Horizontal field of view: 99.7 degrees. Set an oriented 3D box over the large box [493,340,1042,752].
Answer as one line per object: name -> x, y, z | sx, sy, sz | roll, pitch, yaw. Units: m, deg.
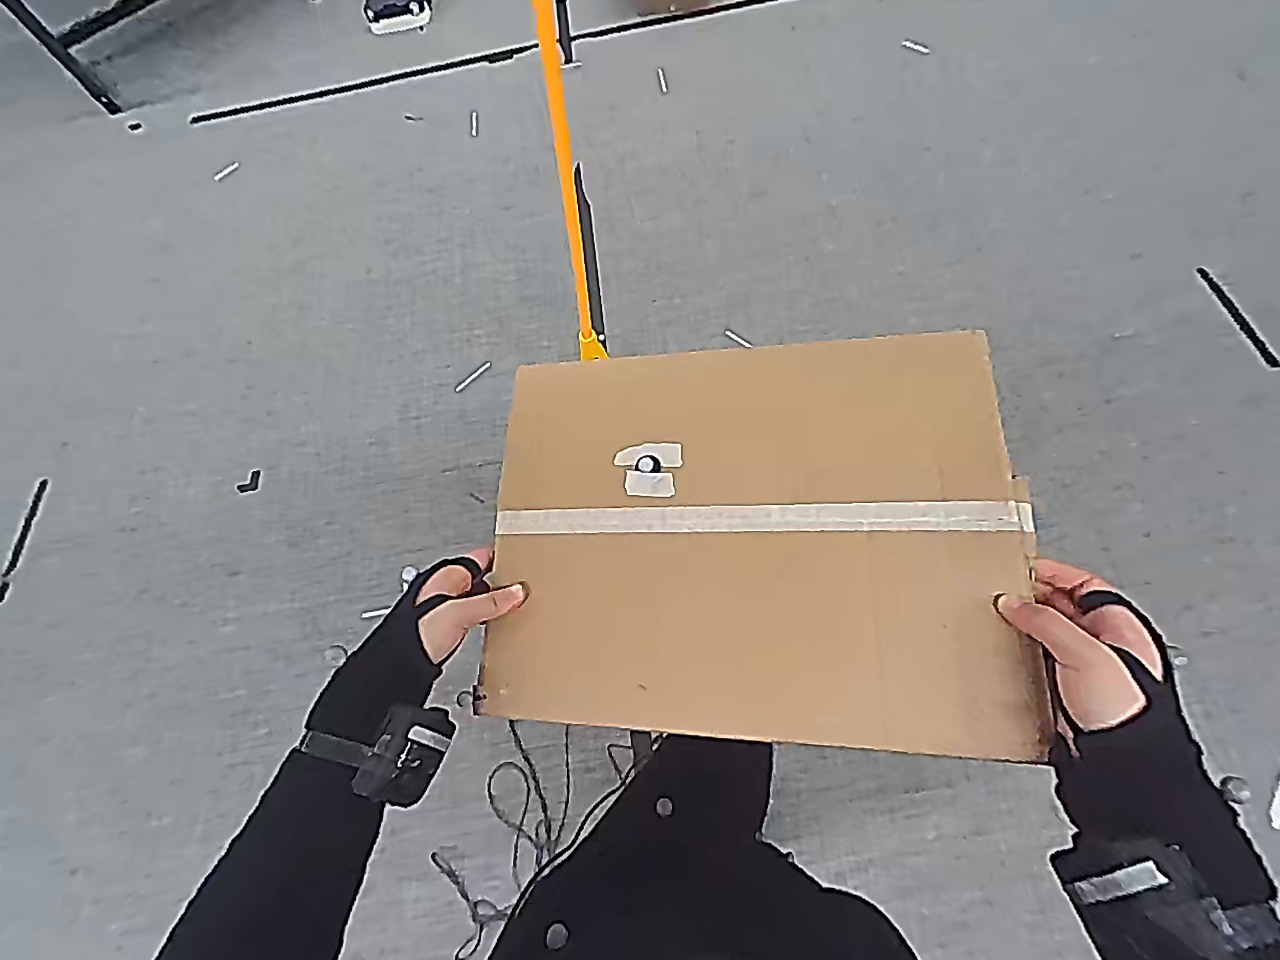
large box -> 0.112, 0.086, 0.579 | 0.408, 0.320, 0.320 | -3, 70, 15
